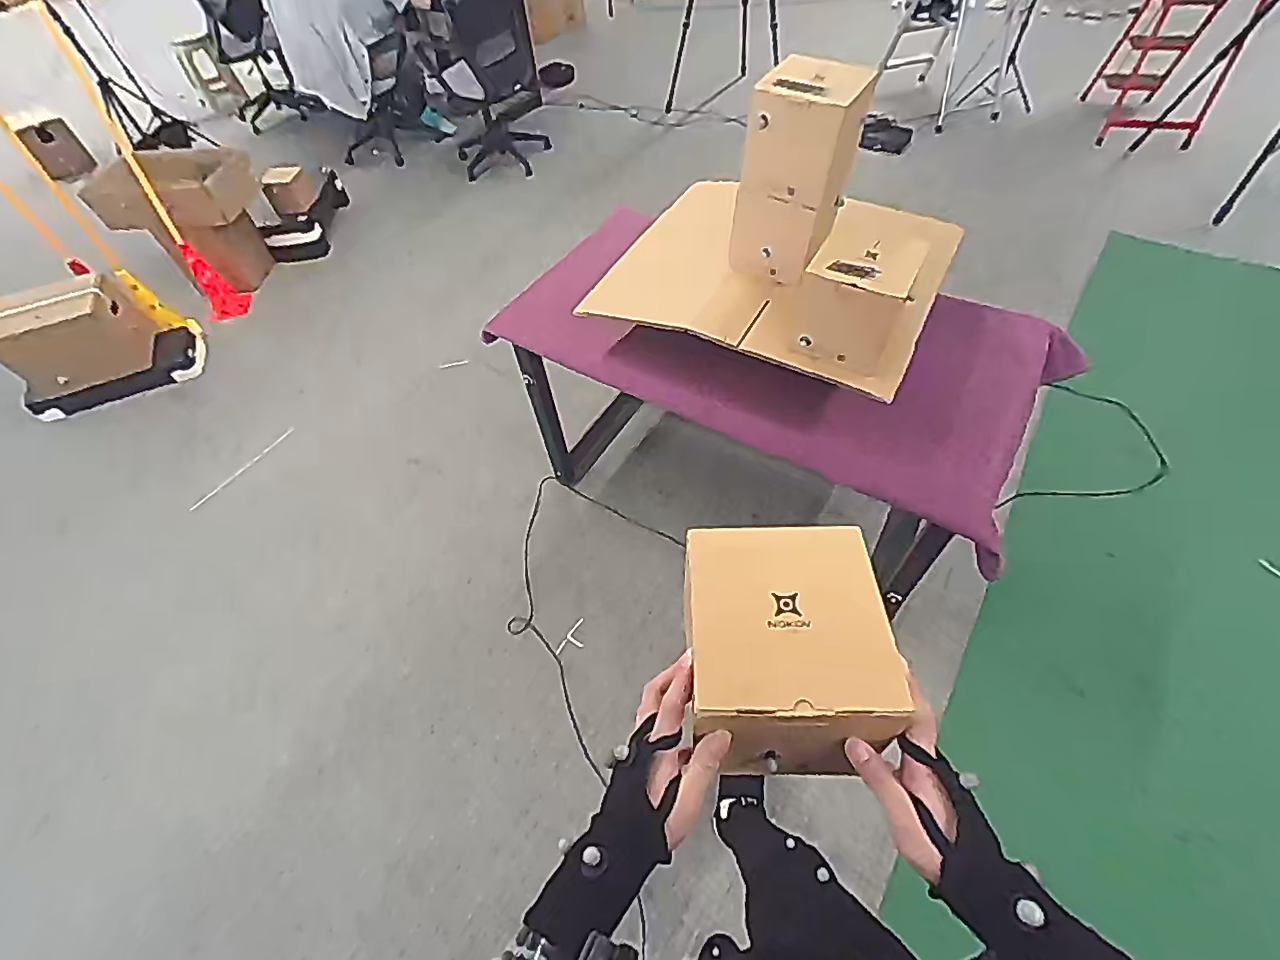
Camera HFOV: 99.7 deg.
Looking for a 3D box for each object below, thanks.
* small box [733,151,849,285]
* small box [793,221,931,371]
[{"bbox_3d":[0.304,-0.540,1.120,0.168,0.176,0.179,26,61,18],"label":"small box"},{"bbox_3d":[0.388,-0.327,0.971,0.168,0.176,0.179,25,59,18],"label":"small box"}]
